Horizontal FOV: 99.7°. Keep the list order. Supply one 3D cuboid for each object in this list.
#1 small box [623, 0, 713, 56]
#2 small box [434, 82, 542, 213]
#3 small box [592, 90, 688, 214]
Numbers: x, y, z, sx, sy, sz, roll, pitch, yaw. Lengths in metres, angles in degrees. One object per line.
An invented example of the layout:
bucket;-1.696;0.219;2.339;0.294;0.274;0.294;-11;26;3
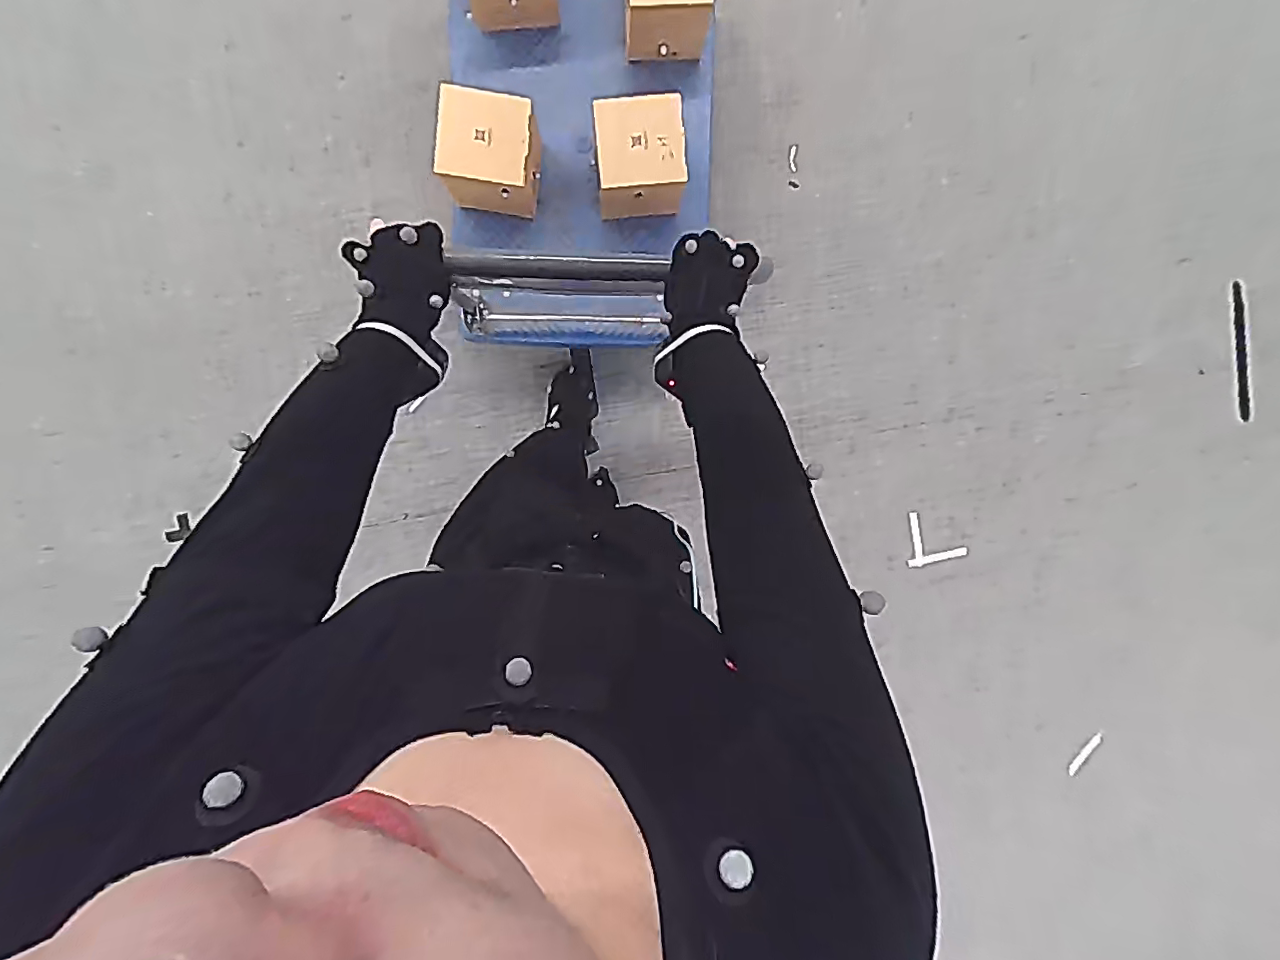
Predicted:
small box;0.051;-1.005;1.092;0.168;0.176;0.179;-4;98;-2
small box;-0.306;-0.672;1.115;0.179;0.176;0.168;6;96;-5
small box;-0.001;-0.673;1.129;0.179;0.176;0.168;-6;97;-2
